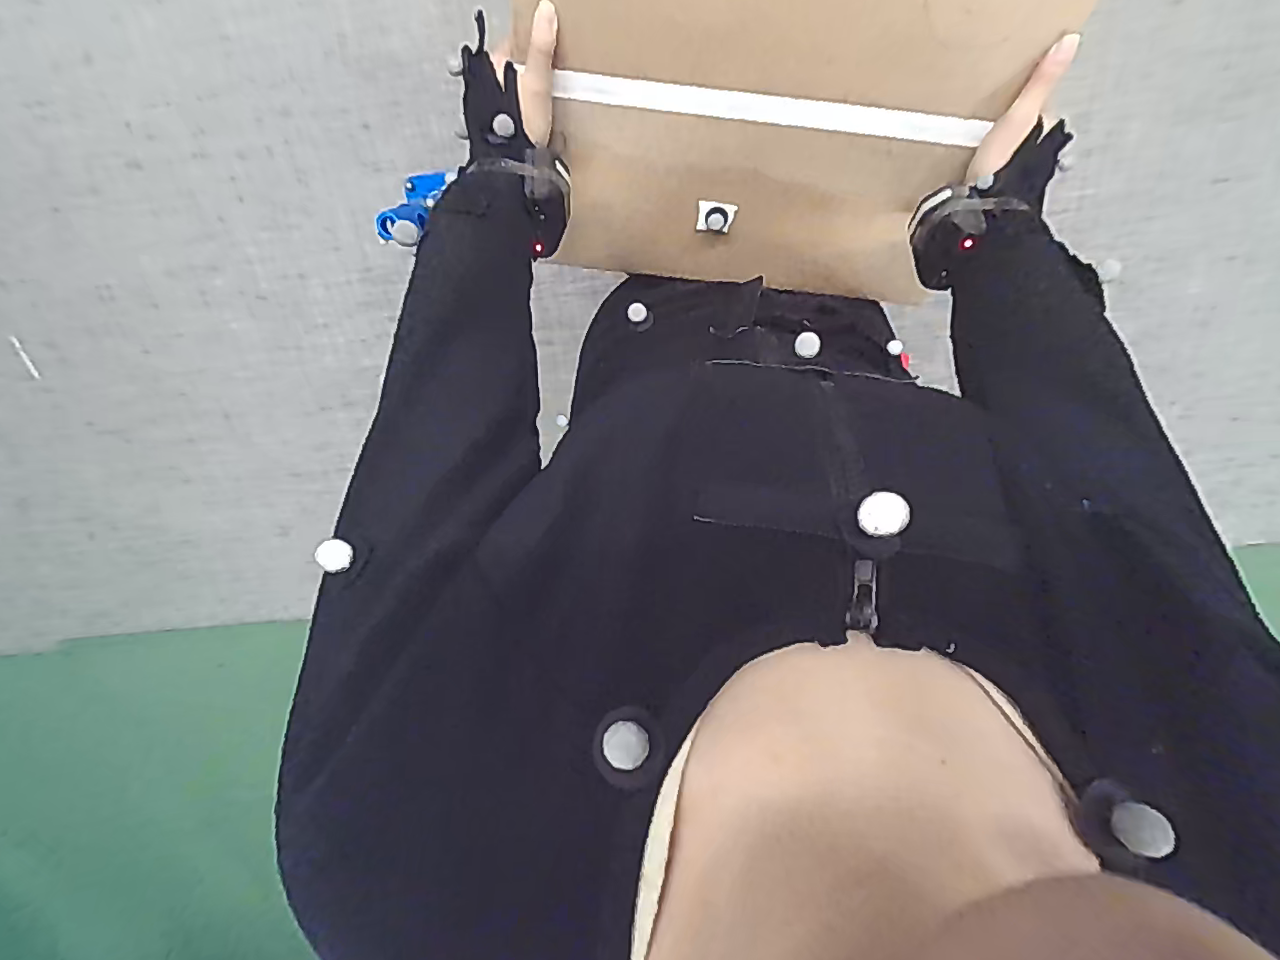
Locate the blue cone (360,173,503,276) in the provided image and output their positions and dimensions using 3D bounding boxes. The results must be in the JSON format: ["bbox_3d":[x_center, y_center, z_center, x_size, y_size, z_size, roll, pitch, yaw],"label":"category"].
[{"bbox_3d":[-0.408,-0.481,1.021,0.192,0.380,0.193,-5,115,5],"label":"blue cone"}]

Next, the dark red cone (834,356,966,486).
[{"bbox_3d":[0.554,-0.099,1.119,0.202,0.394,0.201,-12,118,8],"label":"dark red cone"}]
